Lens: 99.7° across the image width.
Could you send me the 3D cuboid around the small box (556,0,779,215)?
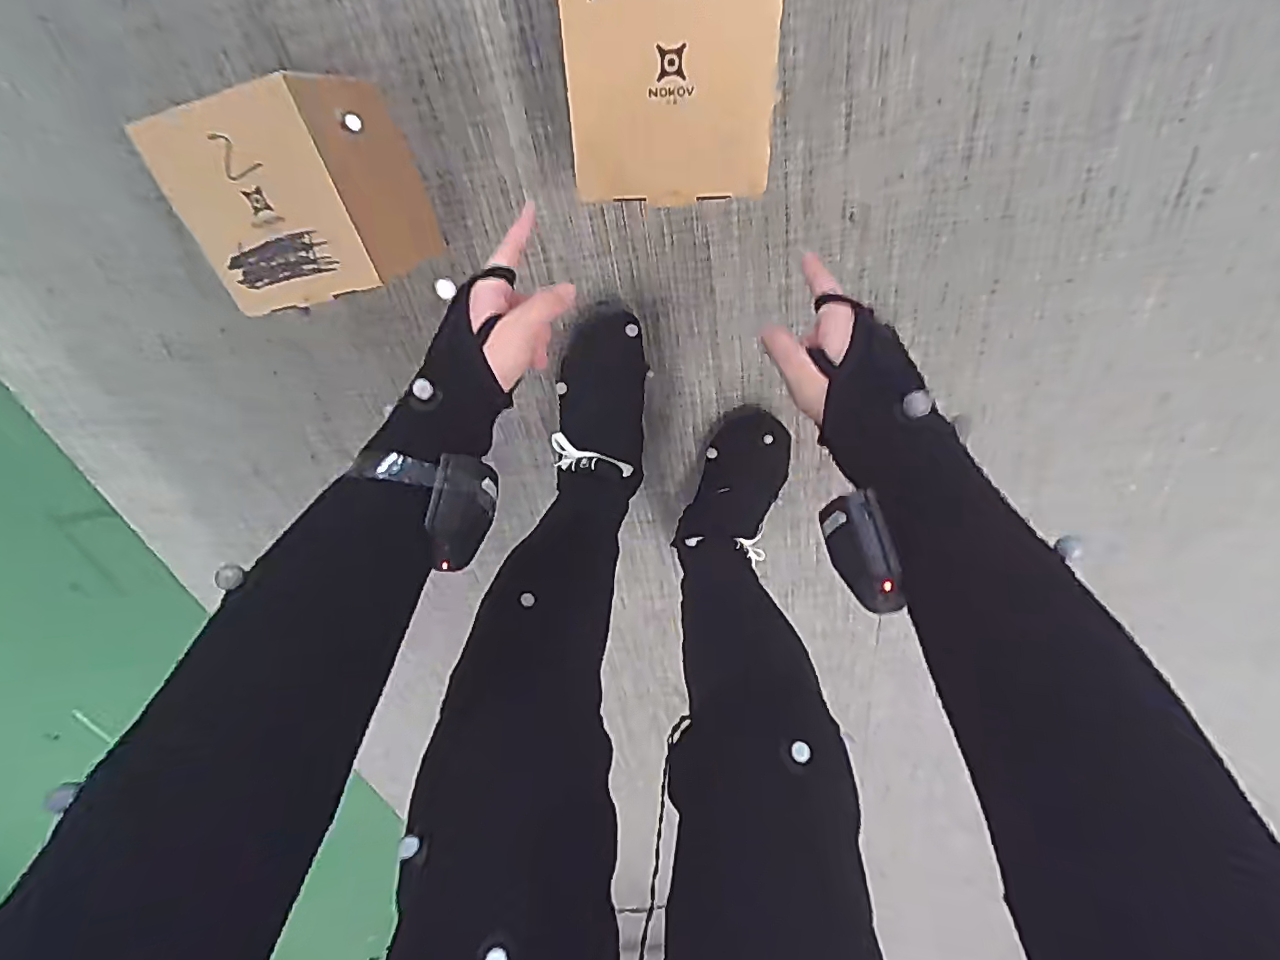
[{"bbox_3d":[0.028,-0.354,0.488,0.168,0.176,0.179,0,126,5],"label":"small box"}]
